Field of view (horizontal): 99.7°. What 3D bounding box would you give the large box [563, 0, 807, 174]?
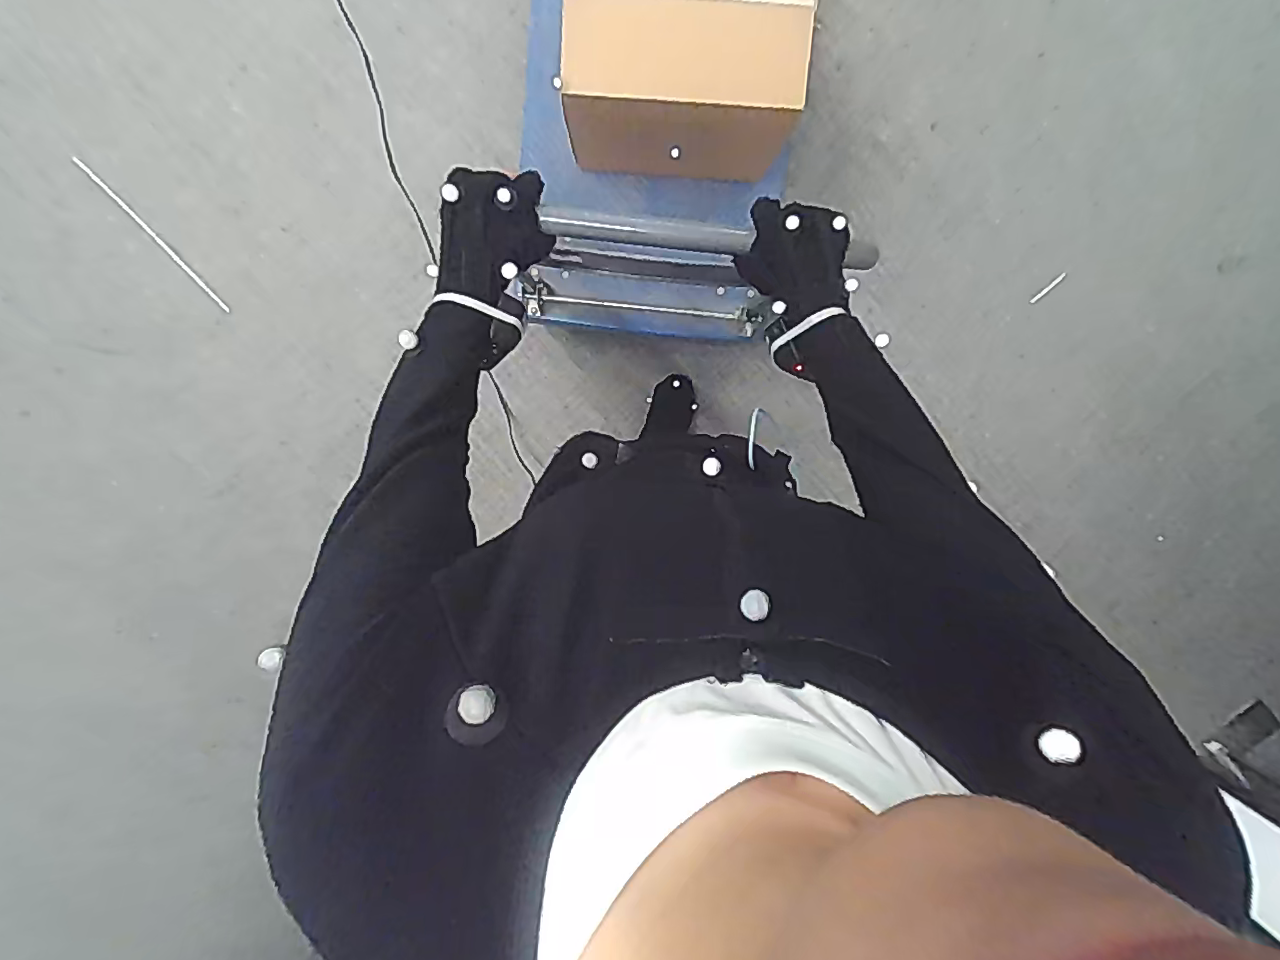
[{"bbox_3d":[0.076,-0.804,1.022,0.408,0.320,0.320,2,99,-1],"label":"large box"}]
